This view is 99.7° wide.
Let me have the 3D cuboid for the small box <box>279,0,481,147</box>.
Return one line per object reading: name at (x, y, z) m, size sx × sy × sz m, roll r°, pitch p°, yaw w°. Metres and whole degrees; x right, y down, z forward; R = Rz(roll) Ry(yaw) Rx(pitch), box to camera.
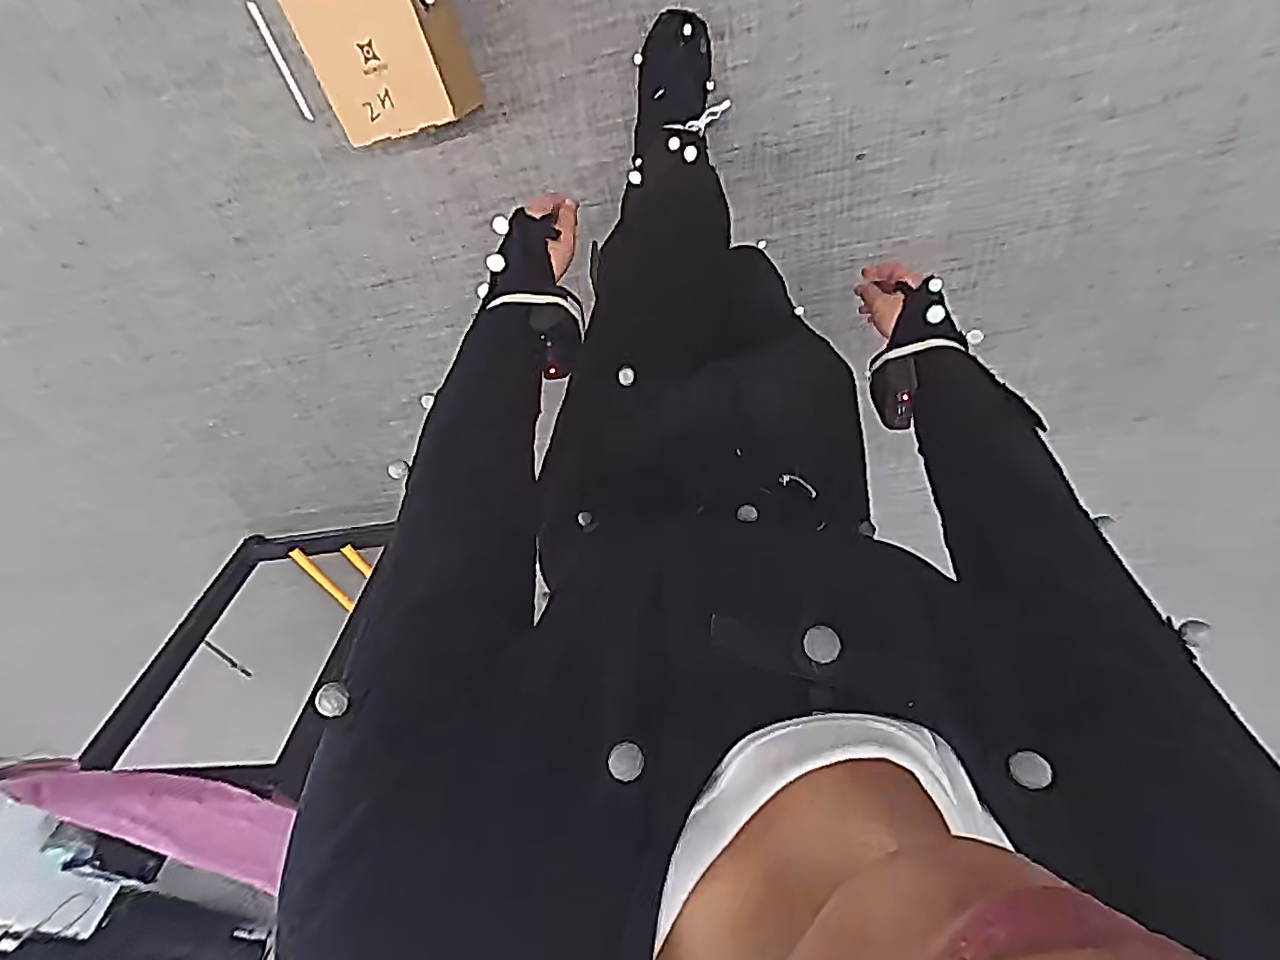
small box at (-0.347, -0.600, 0.760) m, size 0.168 × 0.176 × 0.179 m, roll -8°, pitch 132°, yaw 10°
